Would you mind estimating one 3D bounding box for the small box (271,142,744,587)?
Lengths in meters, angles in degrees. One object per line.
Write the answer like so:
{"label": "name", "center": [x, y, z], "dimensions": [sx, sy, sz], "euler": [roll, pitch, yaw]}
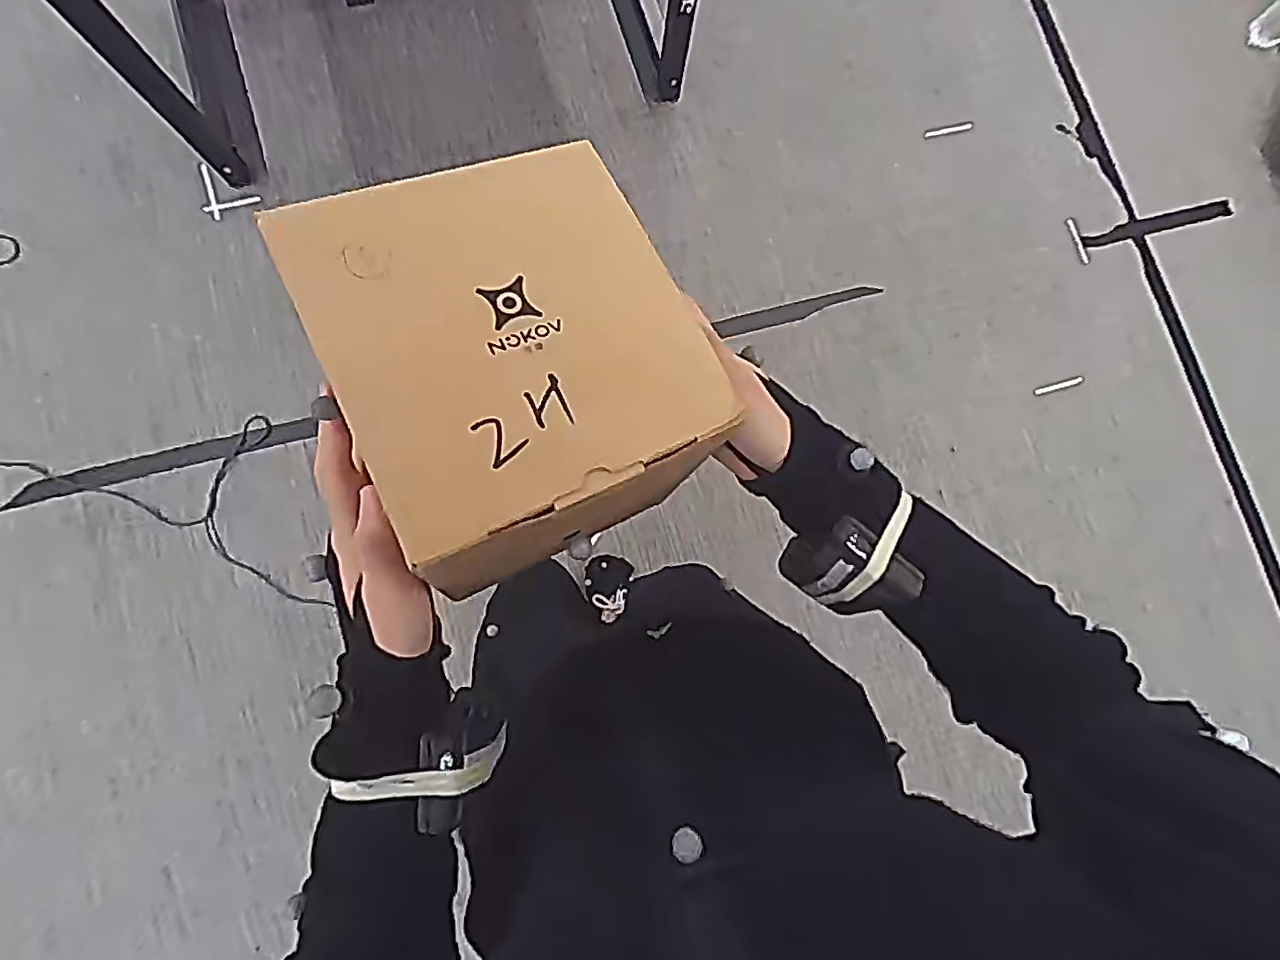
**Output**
{"label": "small box", "center": [-0.074, -0.053, 0.326], "dimensions": [0.168, 0.176, 0.179], "euler": [-25, 80, -18]}
